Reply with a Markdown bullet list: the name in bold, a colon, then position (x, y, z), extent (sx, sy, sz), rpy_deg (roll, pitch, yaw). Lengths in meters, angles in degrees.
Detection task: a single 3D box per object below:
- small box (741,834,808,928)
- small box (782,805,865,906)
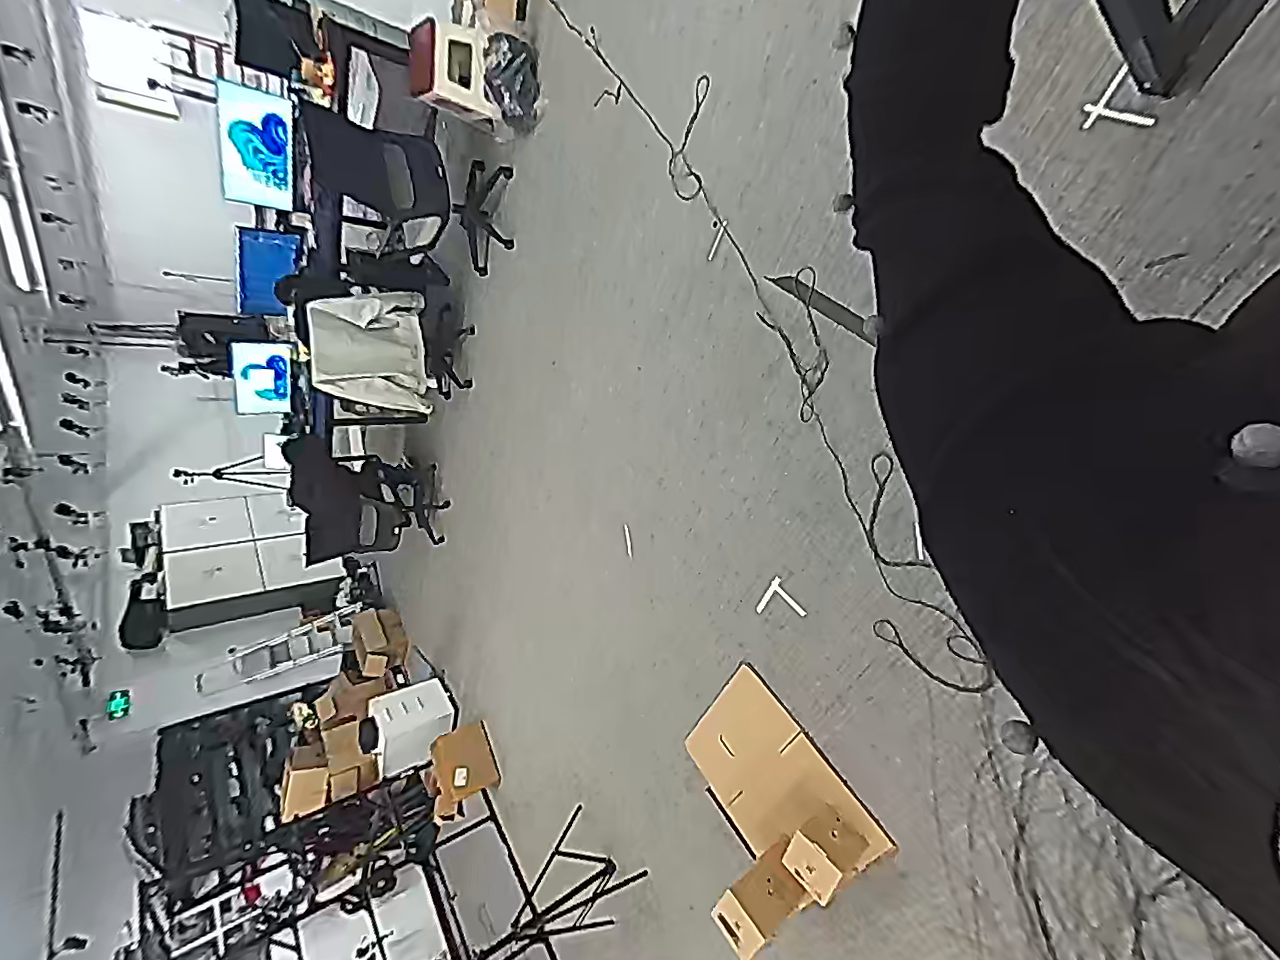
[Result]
- **small box**: position (0.489, 1.400, 1.894), extent (0.168, 0.176, 0.179), rpy_deg (39, 124, 38)
- **small box**: position (0.591, 1.193, 1.733), extent (0.168, 0.176, 0.179), rpy_deg (35, 121, 41)
